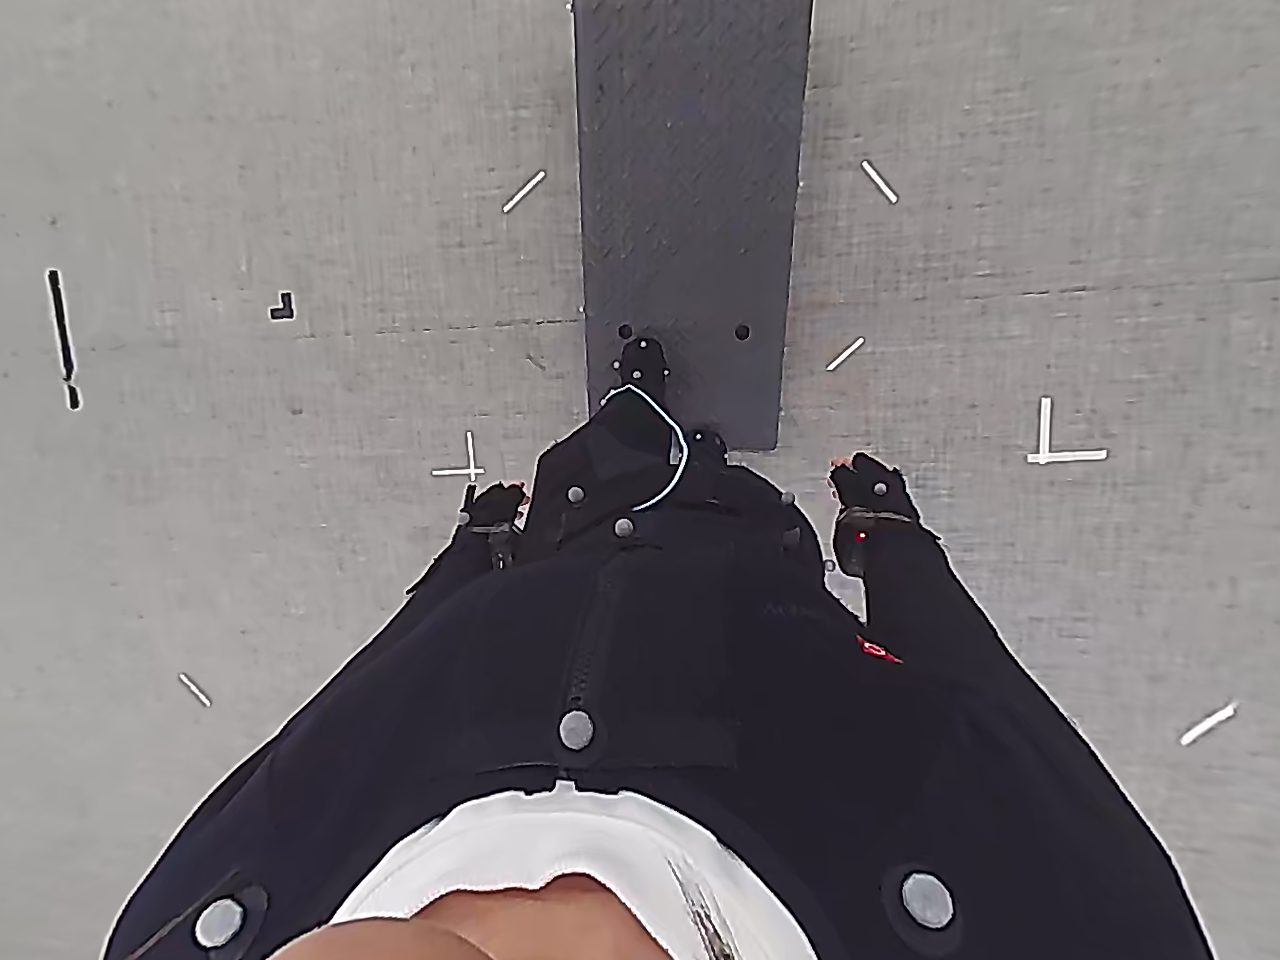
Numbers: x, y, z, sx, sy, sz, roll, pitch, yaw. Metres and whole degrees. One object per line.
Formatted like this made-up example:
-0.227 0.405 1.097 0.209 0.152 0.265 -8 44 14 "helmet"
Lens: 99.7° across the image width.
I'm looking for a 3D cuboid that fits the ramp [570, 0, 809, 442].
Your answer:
0.104 -0.571 1.248 0.509 0.206 0.991 0 101 6 "ramp"
